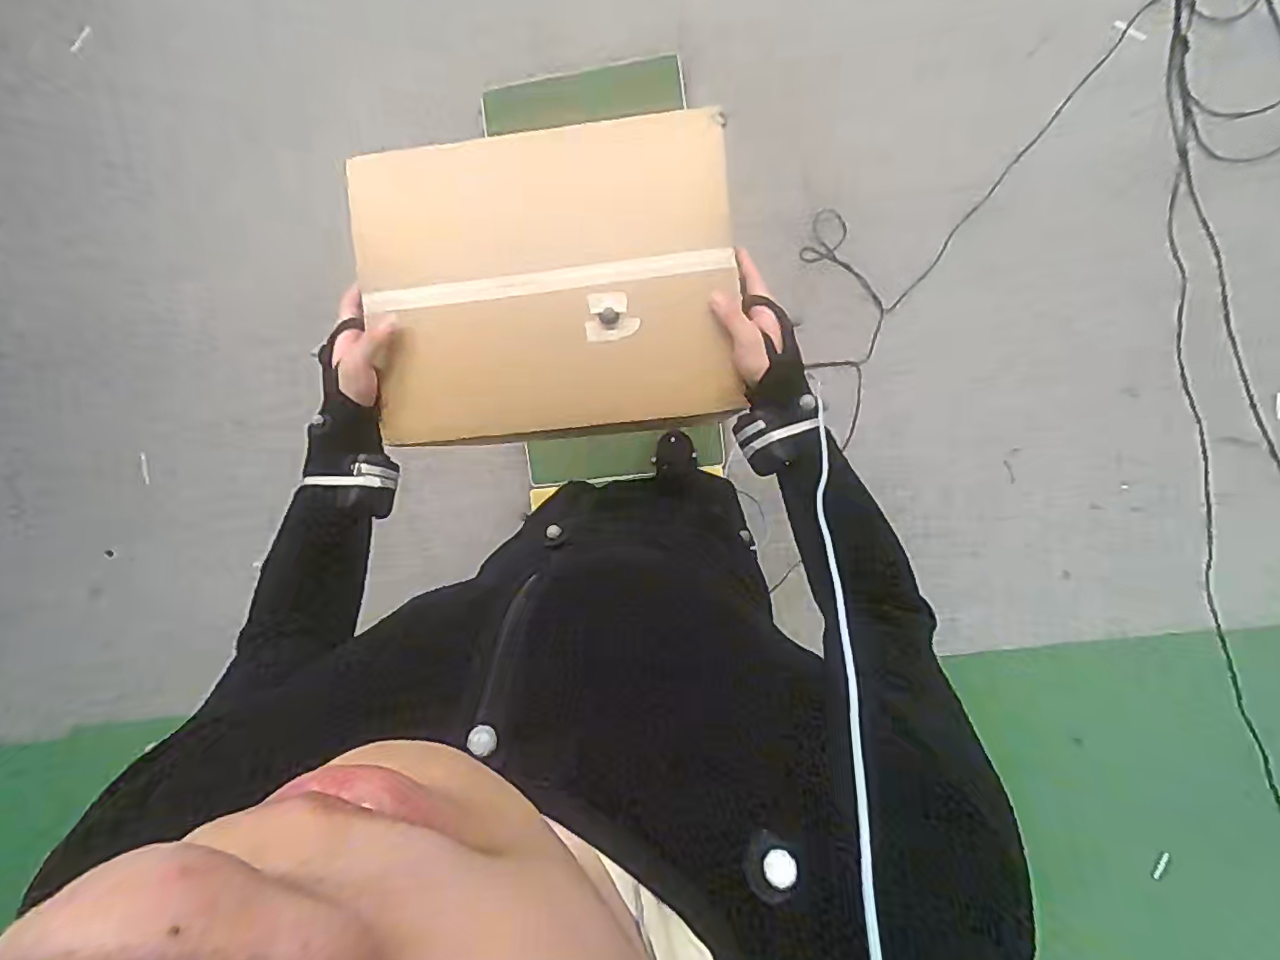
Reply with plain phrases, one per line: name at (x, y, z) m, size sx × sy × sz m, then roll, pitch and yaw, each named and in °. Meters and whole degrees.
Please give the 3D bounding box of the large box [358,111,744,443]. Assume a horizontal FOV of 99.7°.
large box at (-0.092, -0.226, 0.738) m, size 0.408 × 0.320 × 0.320 m, roll -6°, pitch 94°, yaw 3°
